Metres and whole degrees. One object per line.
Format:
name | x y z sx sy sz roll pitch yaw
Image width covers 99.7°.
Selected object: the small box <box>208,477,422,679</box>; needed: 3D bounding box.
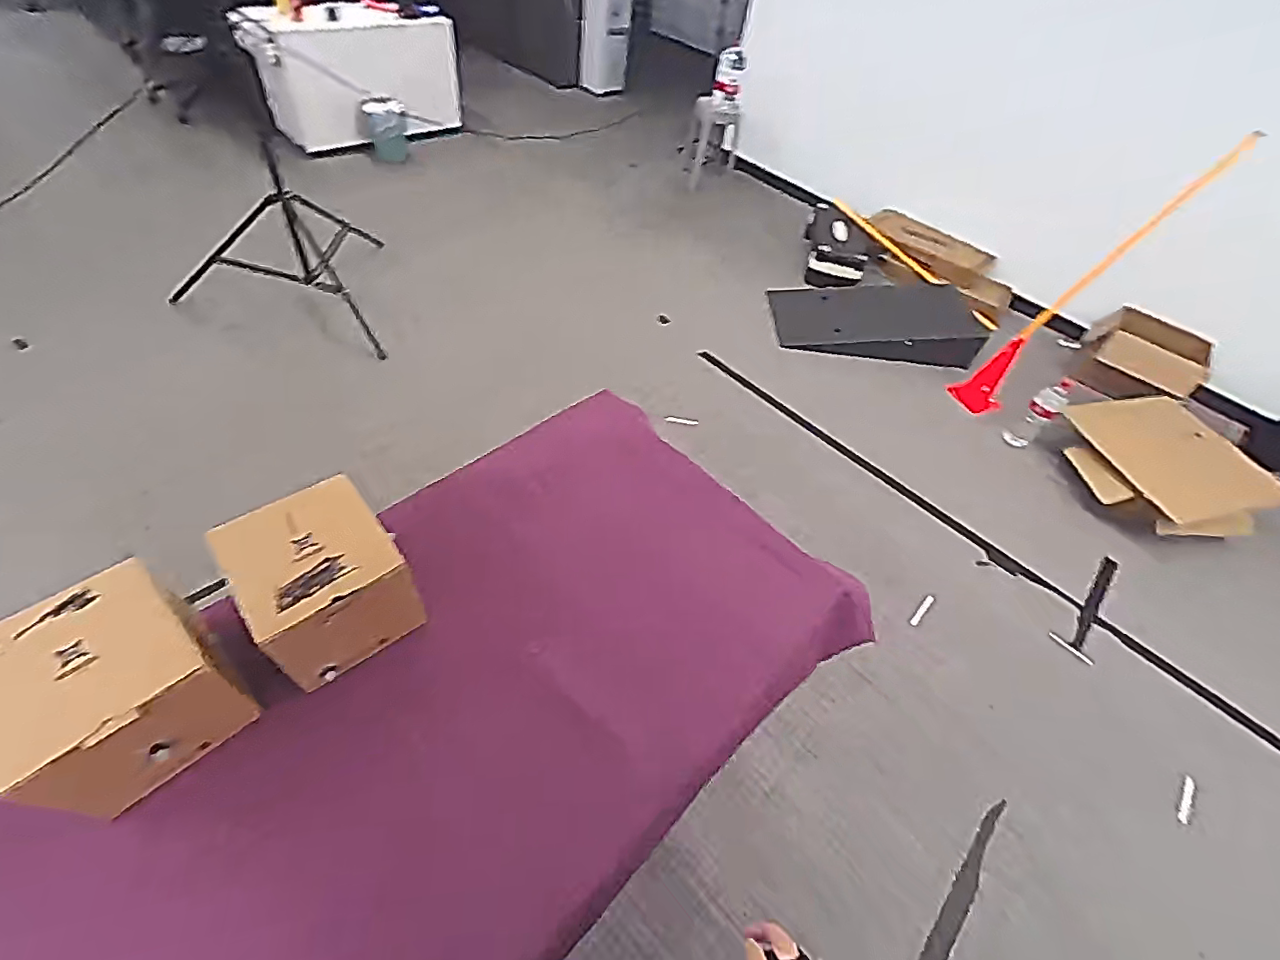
small box | -0.410 0.135 0.710 0.168 0.176 0.179 -31 63 -30
